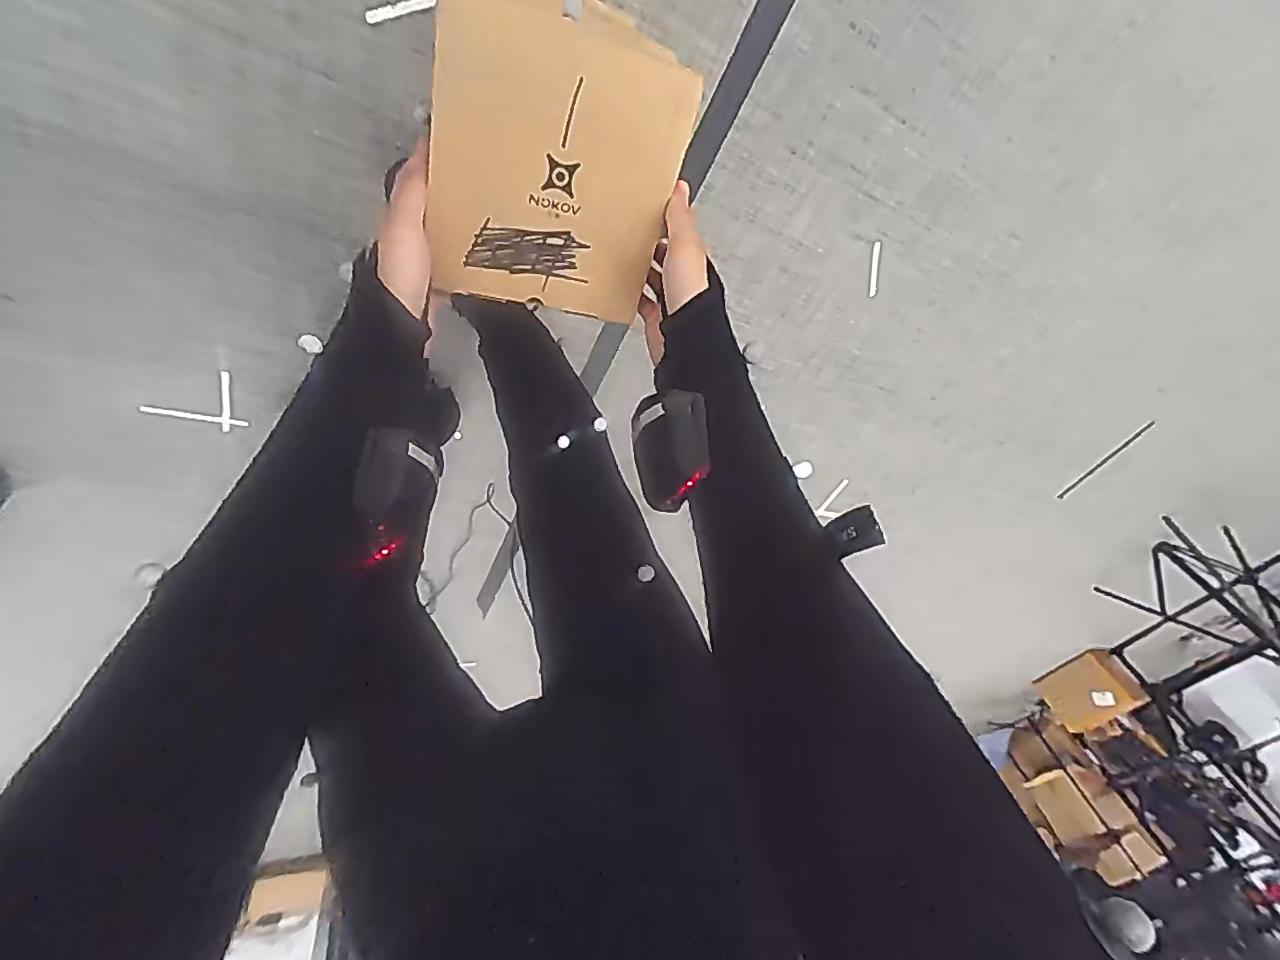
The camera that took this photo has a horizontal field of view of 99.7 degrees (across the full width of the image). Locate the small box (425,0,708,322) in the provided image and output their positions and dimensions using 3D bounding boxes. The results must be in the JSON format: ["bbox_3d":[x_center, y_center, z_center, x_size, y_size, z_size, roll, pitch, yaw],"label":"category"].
[{"bbox_3d":[-0.072,-0.254,0.424,0.168,0.176,0.179,4,131,-22],"label":"small box"}]
